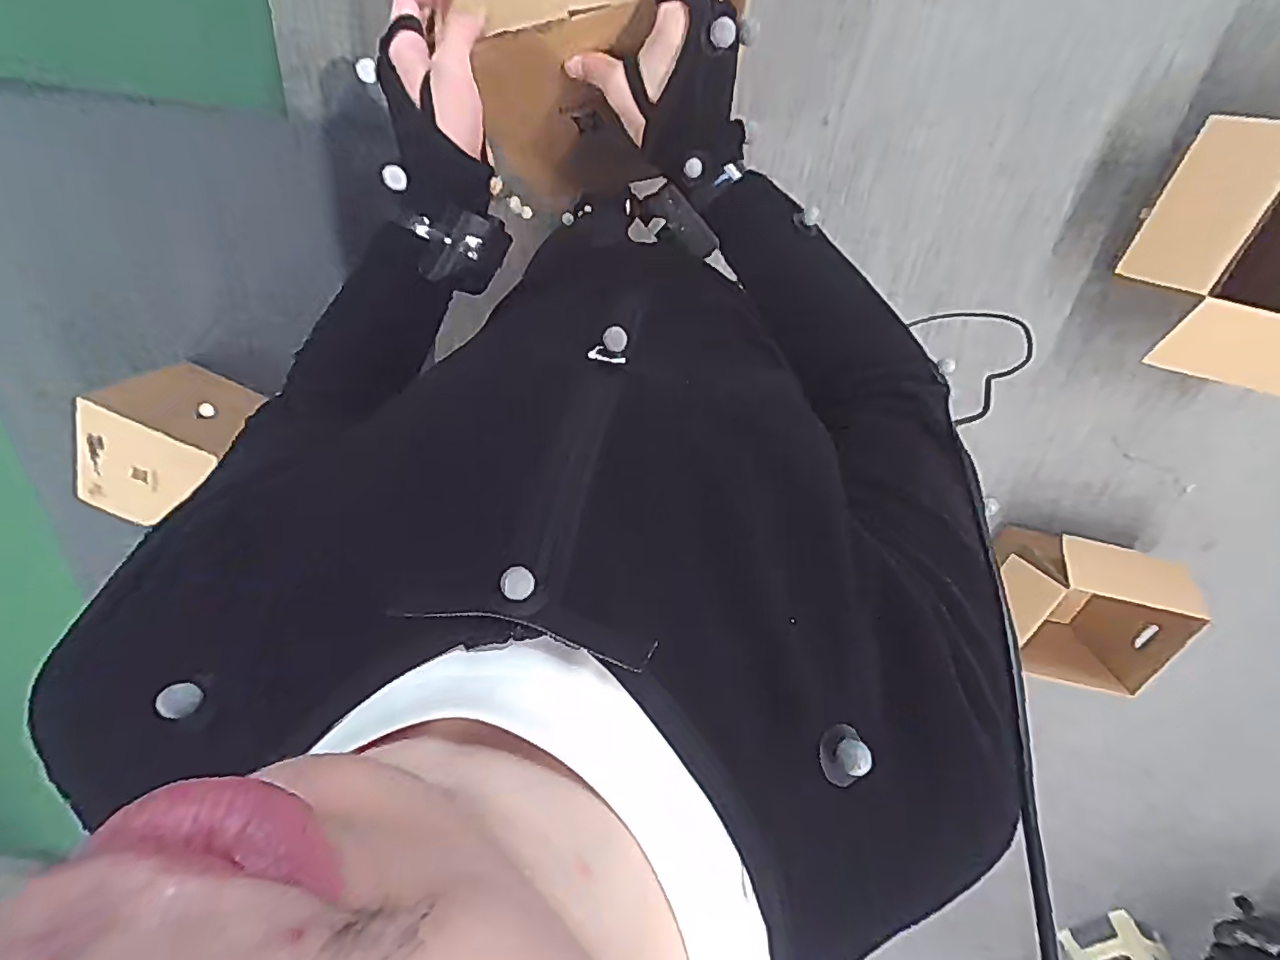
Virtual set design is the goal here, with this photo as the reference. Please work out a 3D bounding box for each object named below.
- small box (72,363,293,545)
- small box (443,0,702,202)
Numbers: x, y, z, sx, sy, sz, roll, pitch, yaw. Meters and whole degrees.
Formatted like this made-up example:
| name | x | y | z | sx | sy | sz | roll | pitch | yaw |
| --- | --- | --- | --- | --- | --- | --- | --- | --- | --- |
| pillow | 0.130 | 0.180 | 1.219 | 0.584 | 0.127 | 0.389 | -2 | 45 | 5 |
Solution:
| name | x | y | z | sx | sy | sz | roll | pitch | yaw |
| --- | --- | --- | --- | --- | --- | --- | --- | --- | --- |
| small box | -0.637 | -0.045 | 0.770 | 0.179 | 0.176 | 0.168 | 26 | 116 | -10 |
| small box | -0.043 | -0.369 | 0.443 | 0.168 | 0.179 | 0.176 | -2 | 85 | 14 |
